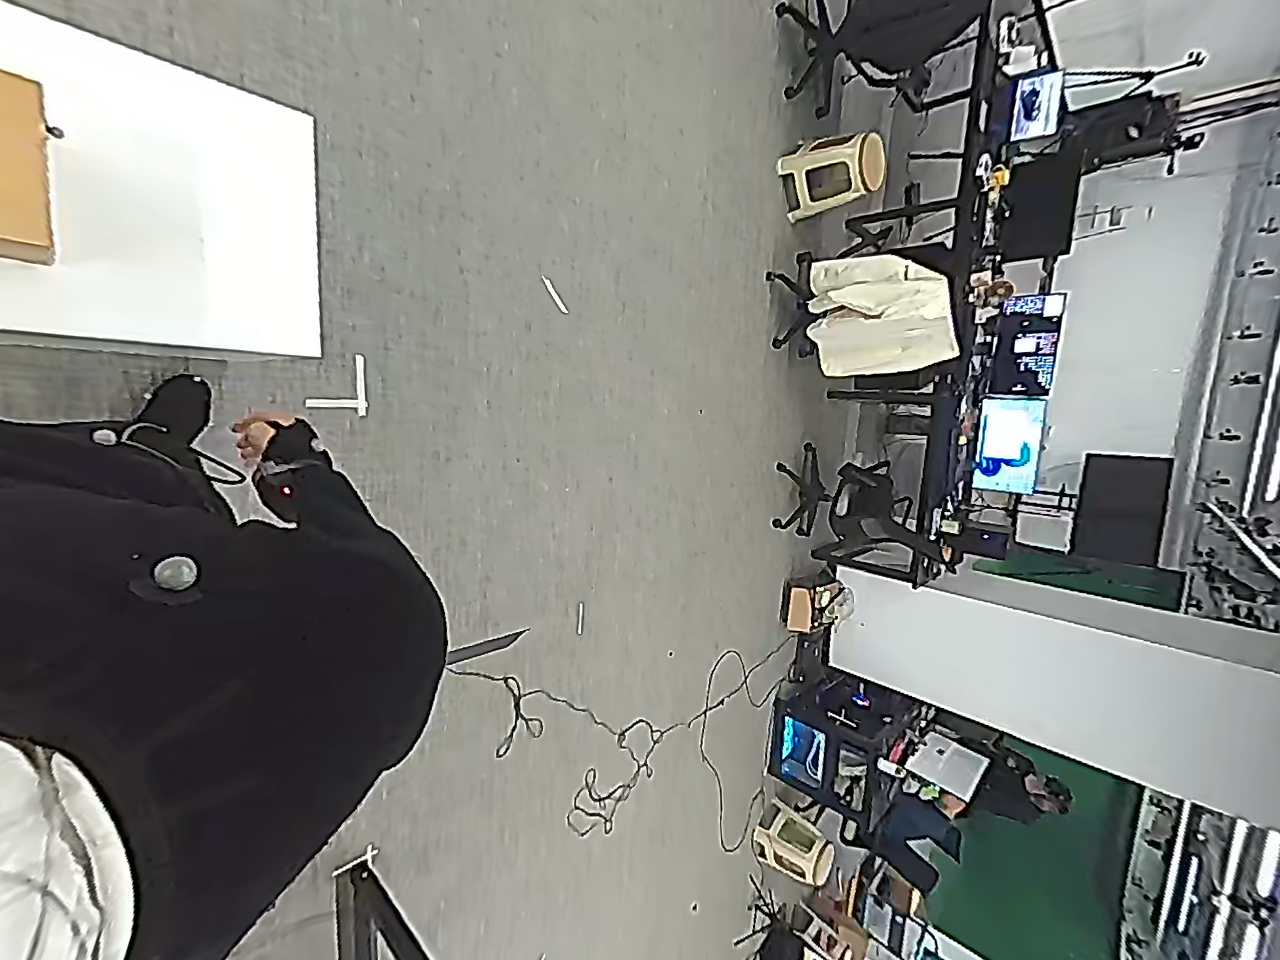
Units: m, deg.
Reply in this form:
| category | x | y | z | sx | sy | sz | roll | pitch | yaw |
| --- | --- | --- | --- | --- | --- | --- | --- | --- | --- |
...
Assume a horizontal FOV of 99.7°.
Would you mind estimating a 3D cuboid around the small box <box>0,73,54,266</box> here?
| category | x | y | z | sx | sy | sz | roll | pitch | yaw |
| --- | --- | --- | --- | --- | --- | --- | --- | --- | --- |
| small box | -0.769 | -0.348 | 0.592 | 0.168 | 0.176 | 0.179 | -5 | 101 | -47 |
